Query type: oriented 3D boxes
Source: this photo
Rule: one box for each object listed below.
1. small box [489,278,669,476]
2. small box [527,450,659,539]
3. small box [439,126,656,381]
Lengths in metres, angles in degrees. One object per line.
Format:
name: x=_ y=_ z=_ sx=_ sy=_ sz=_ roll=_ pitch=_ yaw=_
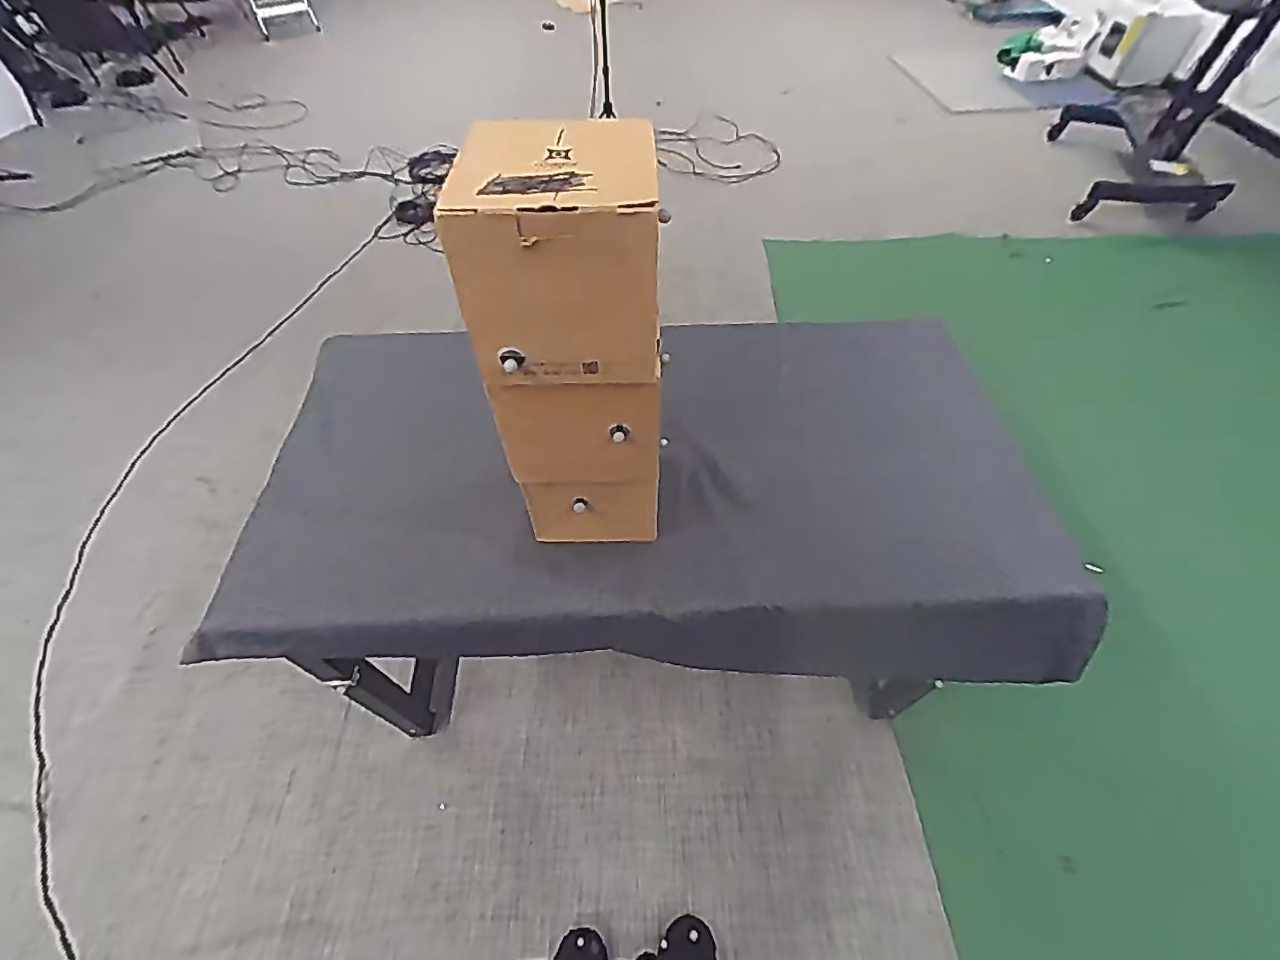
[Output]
small box: x=-0.065 y=-0.118 z=0.630 sx=0.179 sy=0.176 sz=0.168 roll=-3 pitch=53 yaw=-3
small box: x=-0.065 y=-0.025 z=0.786 sx=0.179 sy=0.176 sz=0.168 roll=-2 pitch=52 yaw=-2
small box: x=-0.068 y=-0.208 z=0.512 sx=0.168 sy=0.176 sz=0.179 roll=0 pitch=51 yaw=-1
